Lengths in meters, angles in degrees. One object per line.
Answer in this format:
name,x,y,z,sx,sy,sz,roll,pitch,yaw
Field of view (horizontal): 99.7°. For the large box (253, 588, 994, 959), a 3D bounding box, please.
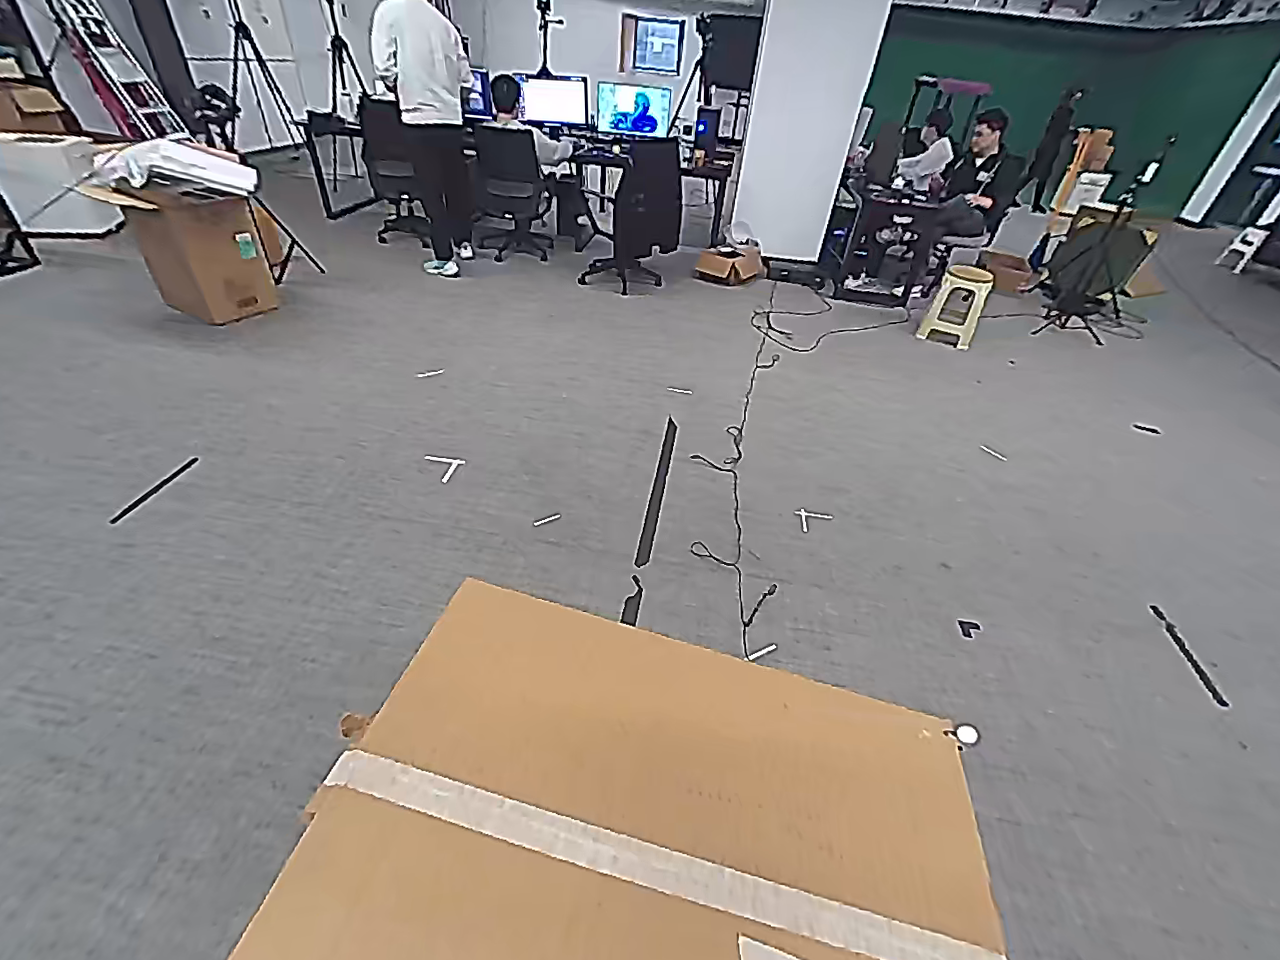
large box,-0.010,0.344,0.422,0.408,0.320,0.320,17,41,3
